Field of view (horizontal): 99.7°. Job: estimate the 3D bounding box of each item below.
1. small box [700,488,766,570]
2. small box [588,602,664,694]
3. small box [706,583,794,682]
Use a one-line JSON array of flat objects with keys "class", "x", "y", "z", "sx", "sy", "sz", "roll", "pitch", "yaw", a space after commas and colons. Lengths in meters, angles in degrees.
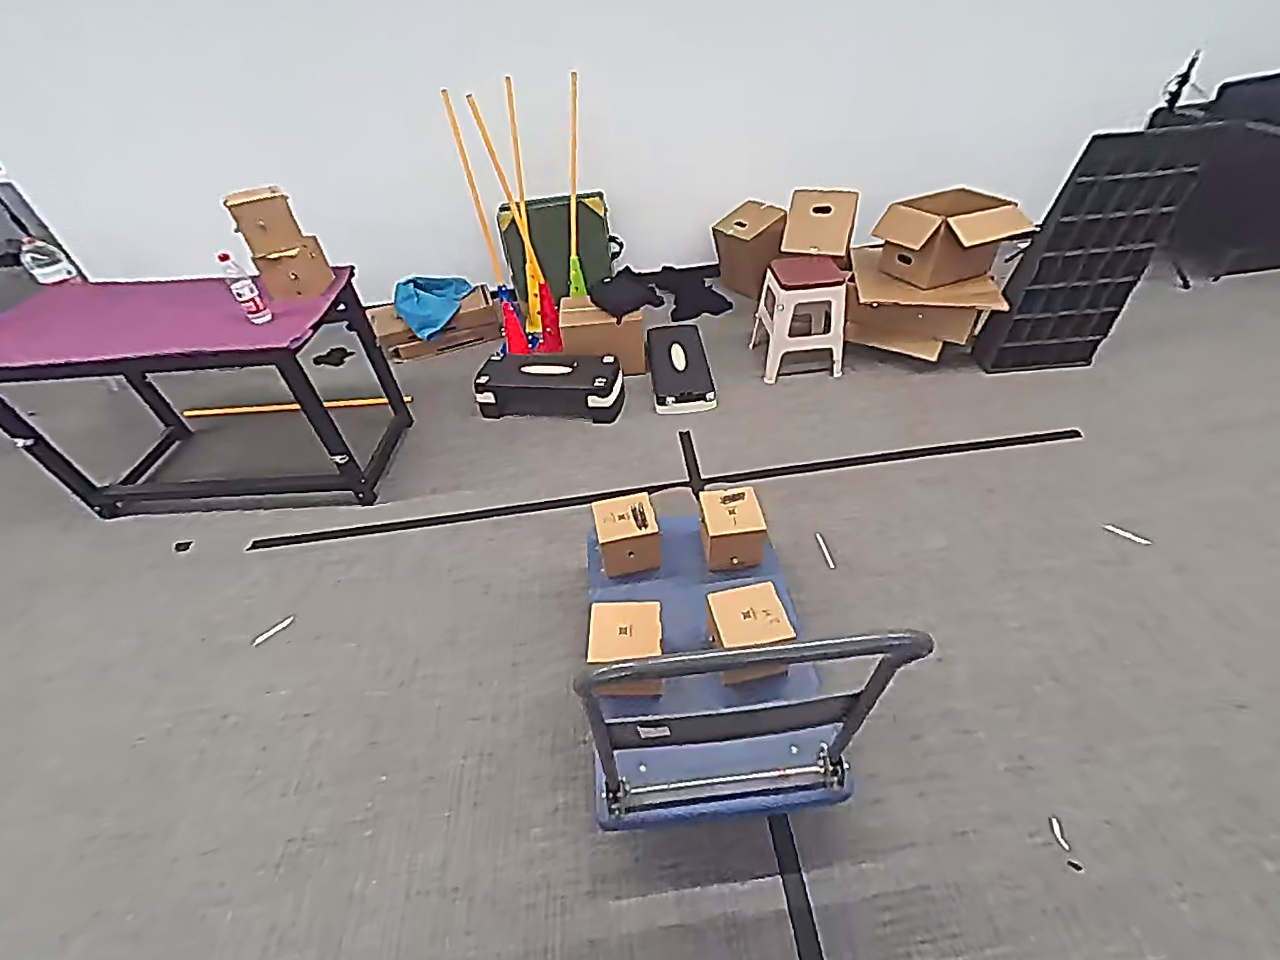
[{"class": "small box", "x": 0.274, "y": 0.149, "z": 1.636, "sx": 0.168, "sy": 0.176, "sz": 0.179, "roll": -7, "pitch": 45, "yaw": -1}, {"class": "small box", "x": -0.030, "y": 0.429, "z": 1.374, "sx": 0.179, "sy": 0.176, "sz": 0.168, "roll": -2, "pitch": 43, "yaw": 2}, {"class": "small box", "x": 0.274, "y": 0.392, "z": 1.381, "sx": 0.179, "sy": 0.176, "sz": 0.168, "roll": -10, "pitch": 44, "yaw": -5}]
